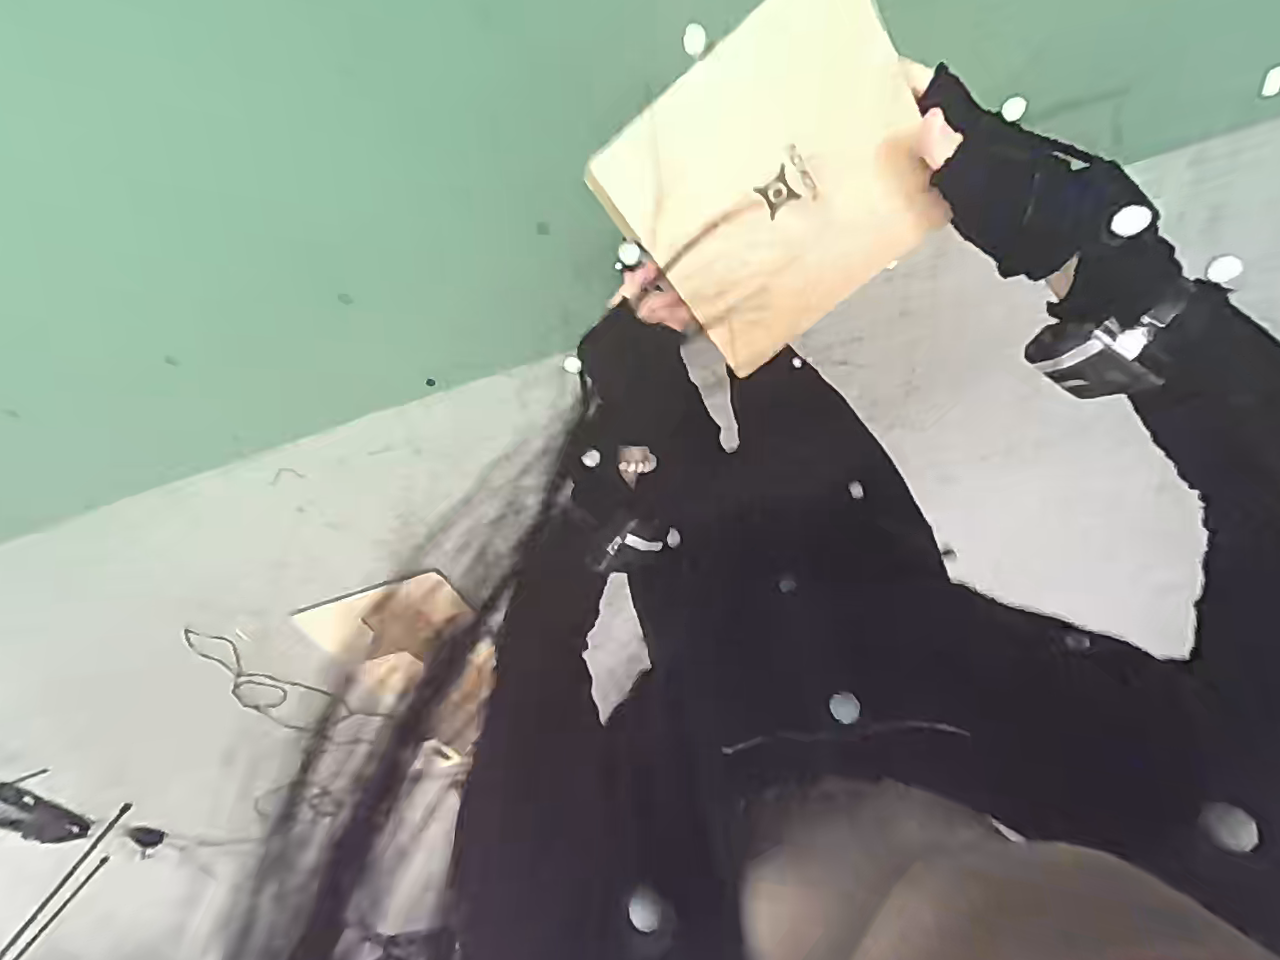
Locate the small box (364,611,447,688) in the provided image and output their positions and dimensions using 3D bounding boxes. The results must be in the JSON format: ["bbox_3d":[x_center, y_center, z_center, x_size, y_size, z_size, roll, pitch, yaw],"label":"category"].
[{"bbox_3d":[-0.795,0.579,1.852,0.179,0.176,0.168,-19,125,11],"label":"small box"}]

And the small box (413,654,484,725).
[{"bbox_3d":[-0.693,0.765,1.986,0.179,0.176,0.168,-22,124,14],"label":"small box"}]
